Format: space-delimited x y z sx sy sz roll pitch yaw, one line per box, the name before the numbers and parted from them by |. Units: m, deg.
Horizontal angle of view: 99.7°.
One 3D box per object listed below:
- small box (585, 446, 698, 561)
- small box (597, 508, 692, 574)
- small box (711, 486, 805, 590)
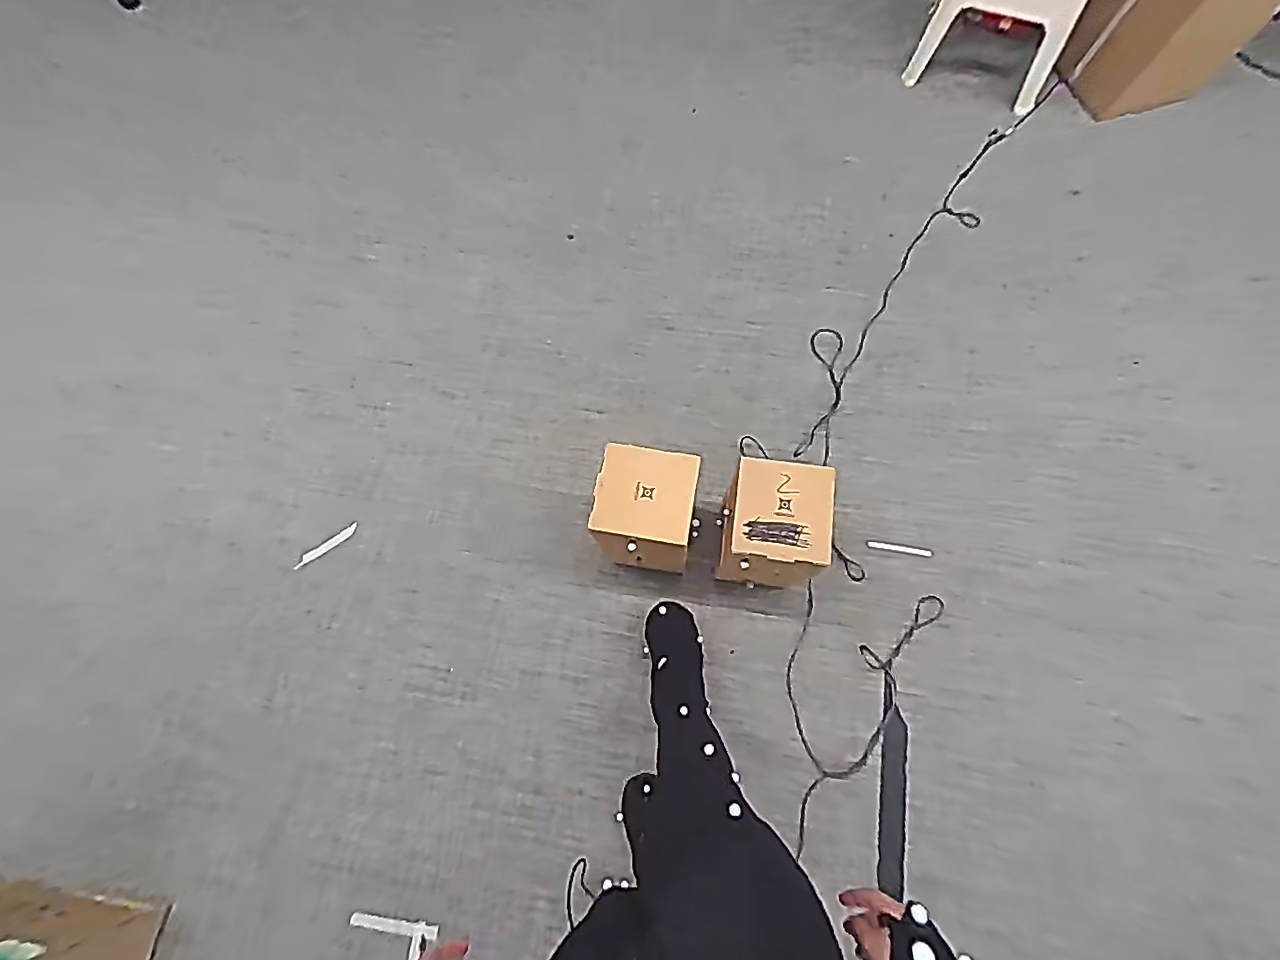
small box | 0.009 0.052 1.023 0.179 0.176 0.168 9 72 7
small box | 0.017 0.102 1.176 0.179 0.176 0.168 8 73 7
small box | 0.246 0.129 1.157 0.168 0.176 0.179 7 73 5
